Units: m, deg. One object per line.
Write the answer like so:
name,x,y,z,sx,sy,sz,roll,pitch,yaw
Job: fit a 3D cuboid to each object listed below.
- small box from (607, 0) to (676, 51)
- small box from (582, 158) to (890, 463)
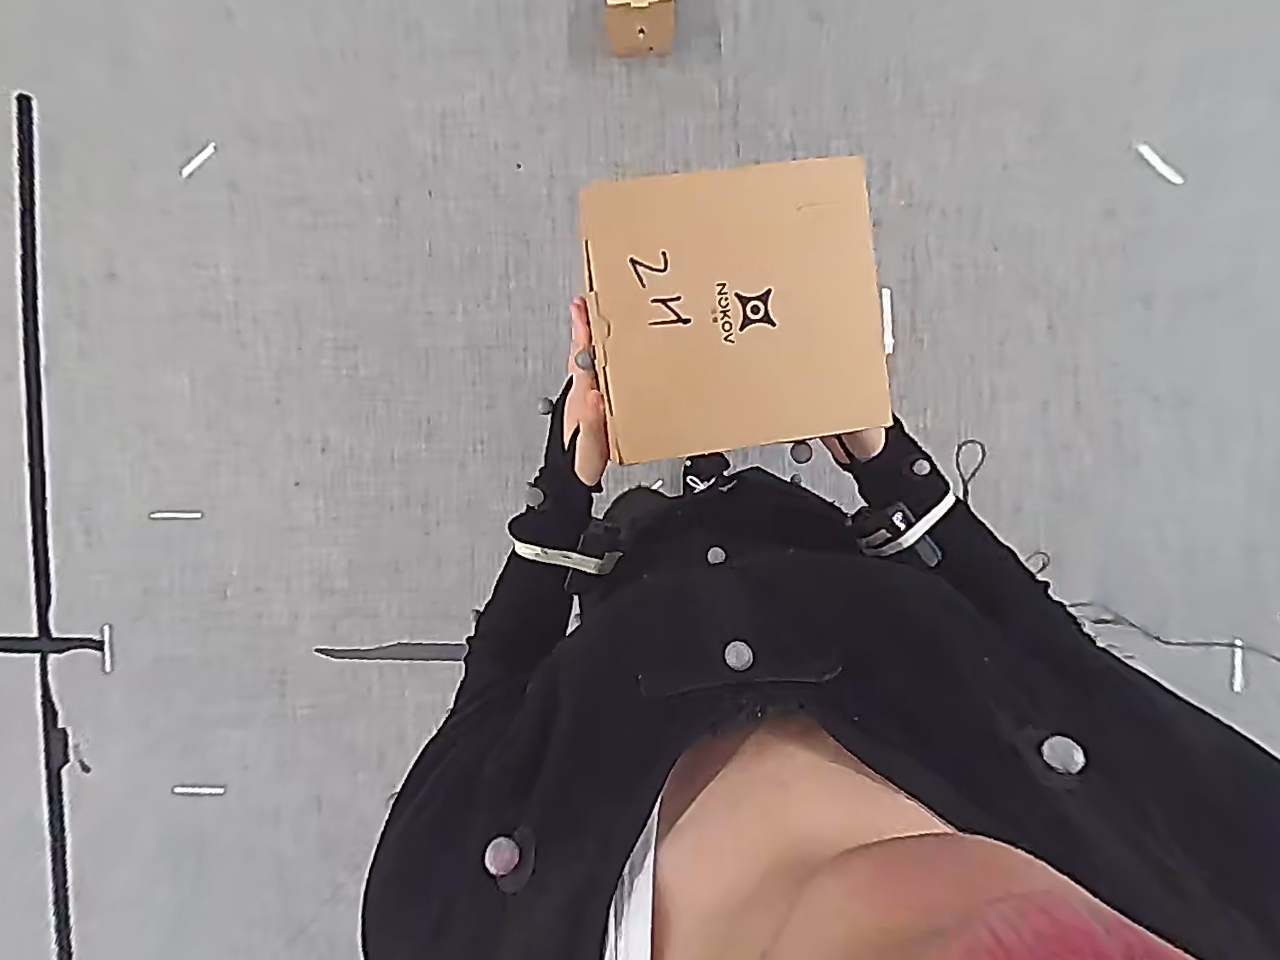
small box,0.008,-1.239,1.380,0.168,0.176,0.179,1,92,3
small box,0.054,-0.108,0.405,0.179,0.176,0.168,-9,94,-4
